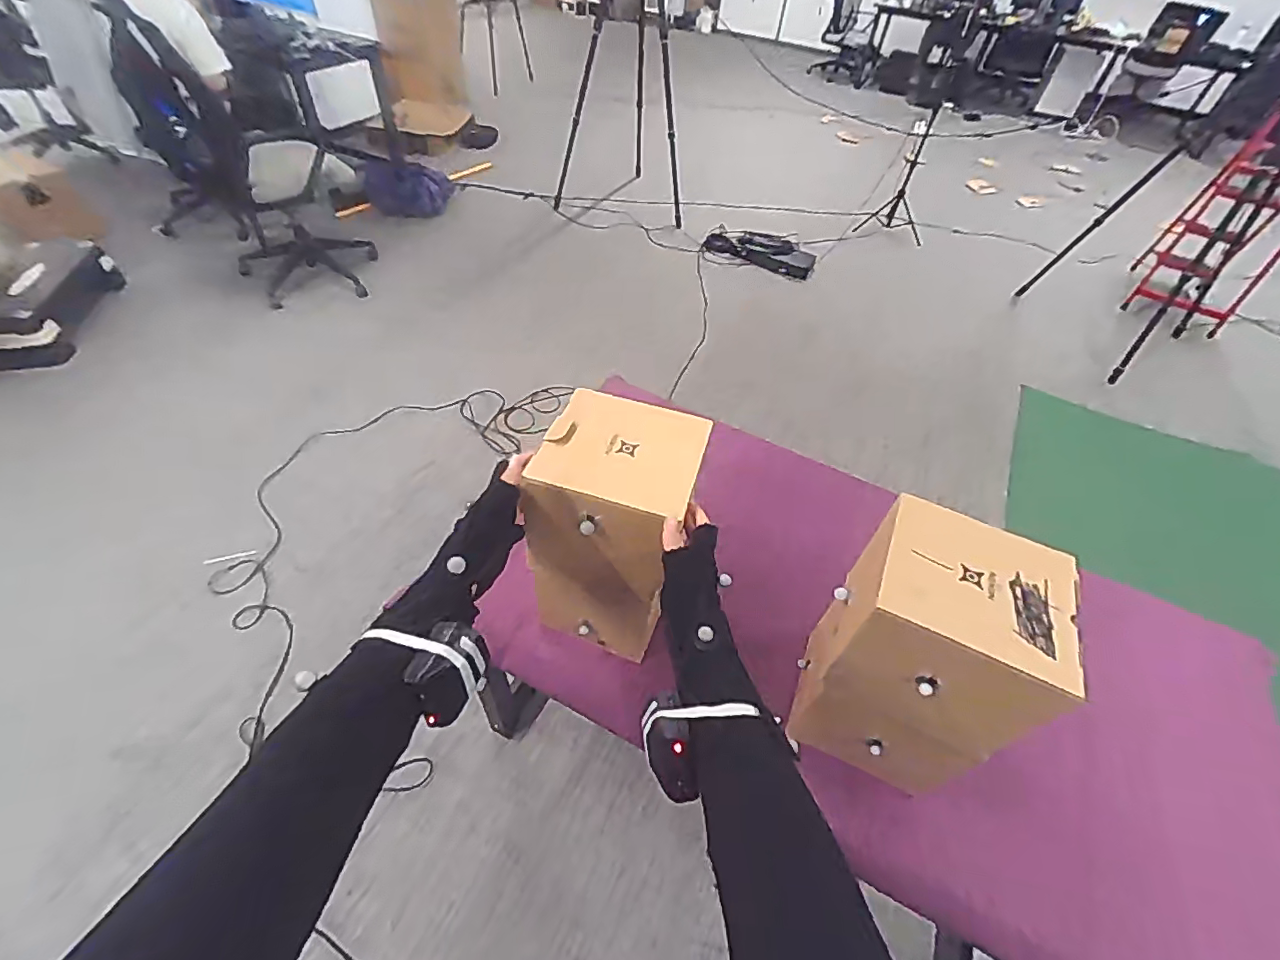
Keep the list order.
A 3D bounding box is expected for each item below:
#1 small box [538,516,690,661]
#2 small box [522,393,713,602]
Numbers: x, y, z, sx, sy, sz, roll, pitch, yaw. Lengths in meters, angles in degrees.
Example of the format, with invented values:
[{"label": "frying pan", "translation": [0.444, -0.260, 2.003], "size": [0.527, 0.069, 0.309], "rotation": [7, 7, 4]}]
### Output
[{"label": "small box", "translation": [-0.042, 0.127, 0.788], "size": [0.168, 0.176, 0.179], "rotation": [20, 48, 10]}, {"label": "small box", "translation": [-0.026, 0.025, 0.661], "size": [0.179, 0.176, 0.168], "rotation": [16, 47, 7]}]
